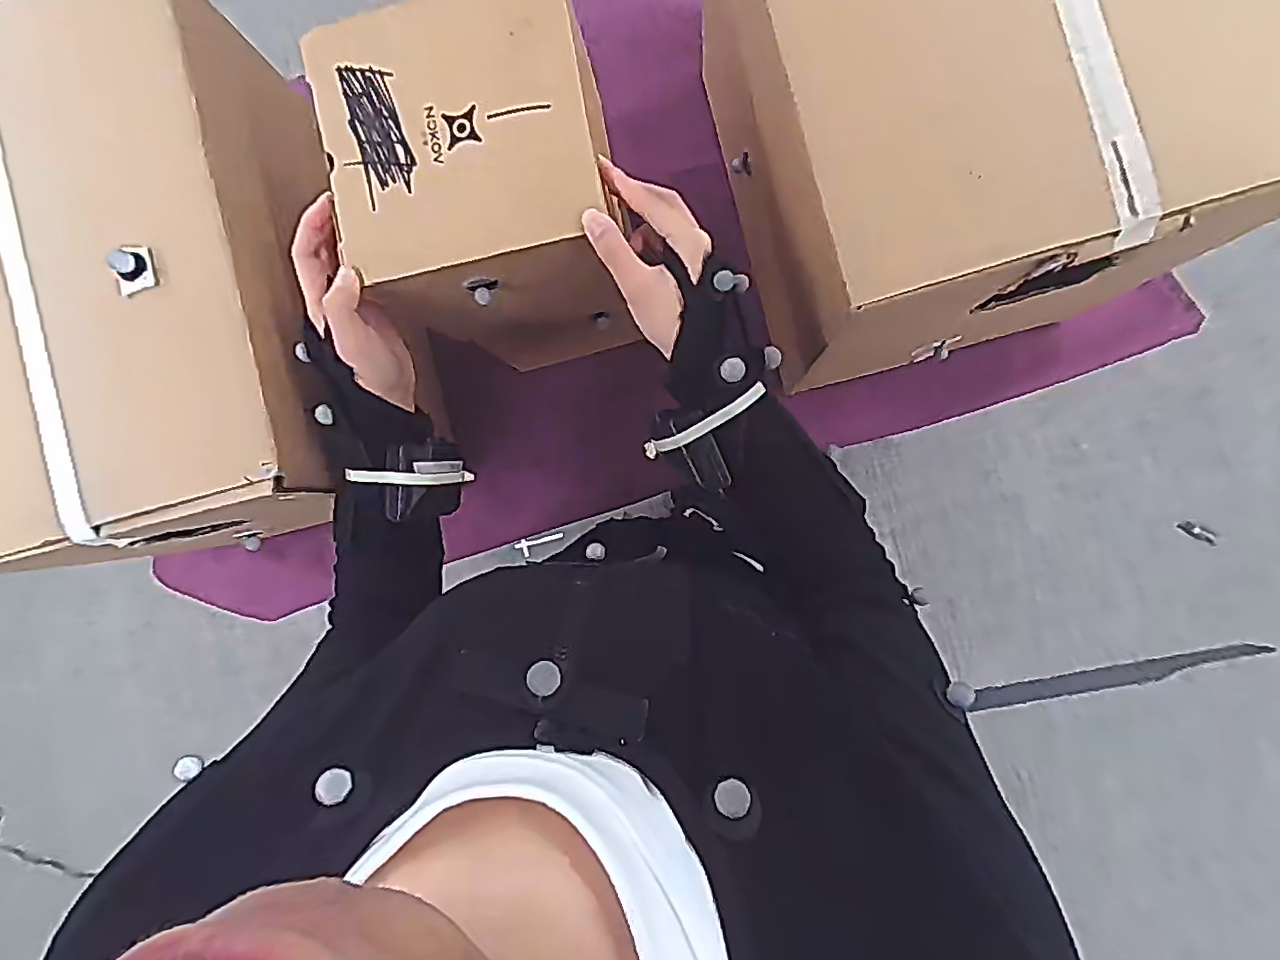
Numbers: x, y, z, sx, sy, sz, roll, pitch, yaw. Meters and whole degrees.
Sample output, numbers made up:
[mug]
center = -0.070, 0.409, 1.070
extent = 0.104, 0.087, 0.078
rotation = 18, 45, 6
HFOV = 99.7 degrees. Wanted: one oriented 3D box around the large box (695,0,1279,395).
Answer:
[large box]
center = 0.244, -0.329, 0.465
extent = 0.320, 0.320, 0.408
rotation = -15, 86, 6
